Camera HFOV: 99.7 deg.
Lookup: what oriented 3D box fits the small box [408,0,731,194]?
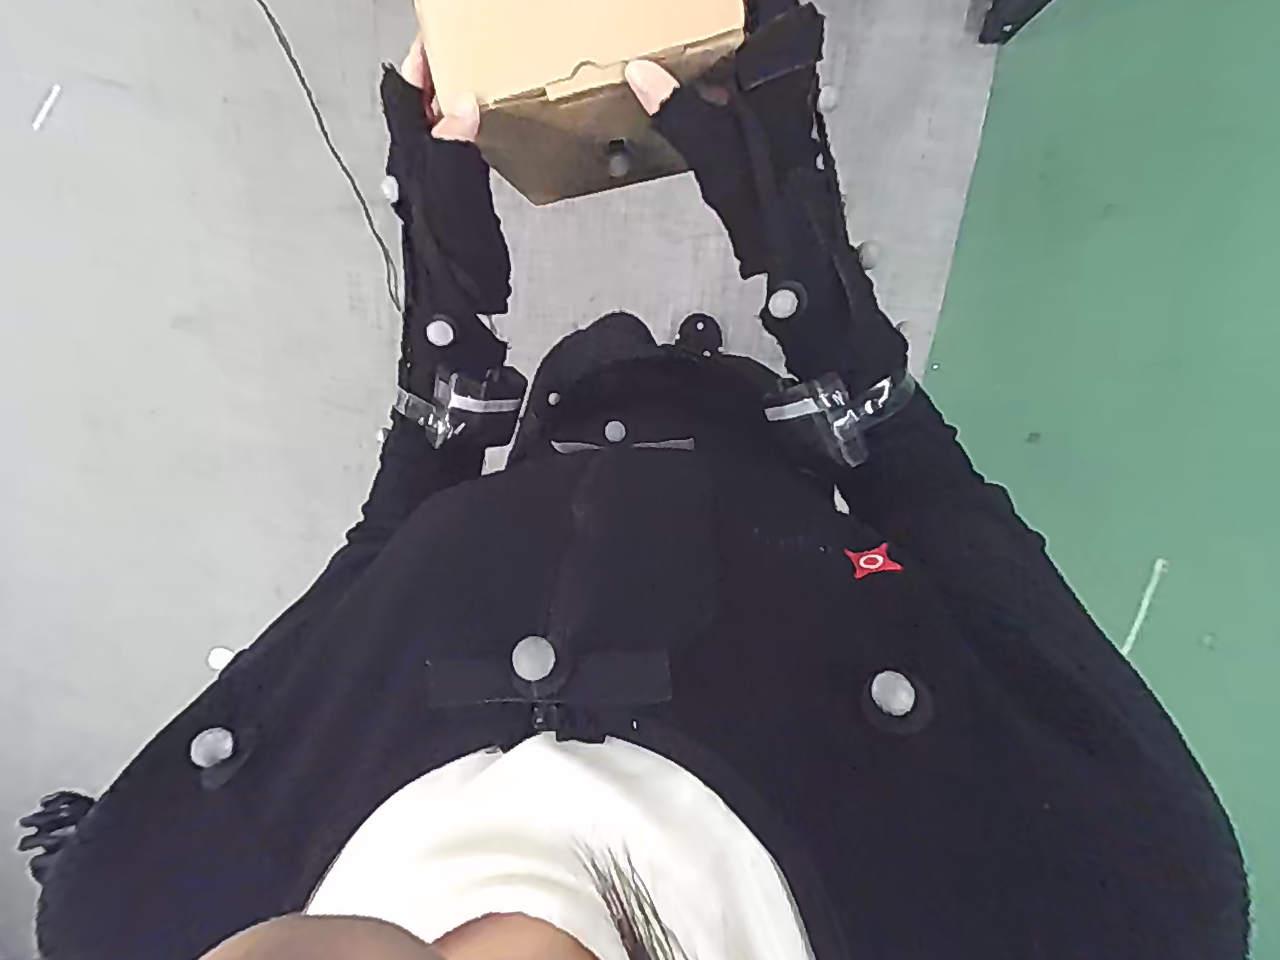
[{"bbox_3d":[-0.035,-0.302,0.341,0.168,0.176,0.179,-9,101,9],"label":"small box"}]
